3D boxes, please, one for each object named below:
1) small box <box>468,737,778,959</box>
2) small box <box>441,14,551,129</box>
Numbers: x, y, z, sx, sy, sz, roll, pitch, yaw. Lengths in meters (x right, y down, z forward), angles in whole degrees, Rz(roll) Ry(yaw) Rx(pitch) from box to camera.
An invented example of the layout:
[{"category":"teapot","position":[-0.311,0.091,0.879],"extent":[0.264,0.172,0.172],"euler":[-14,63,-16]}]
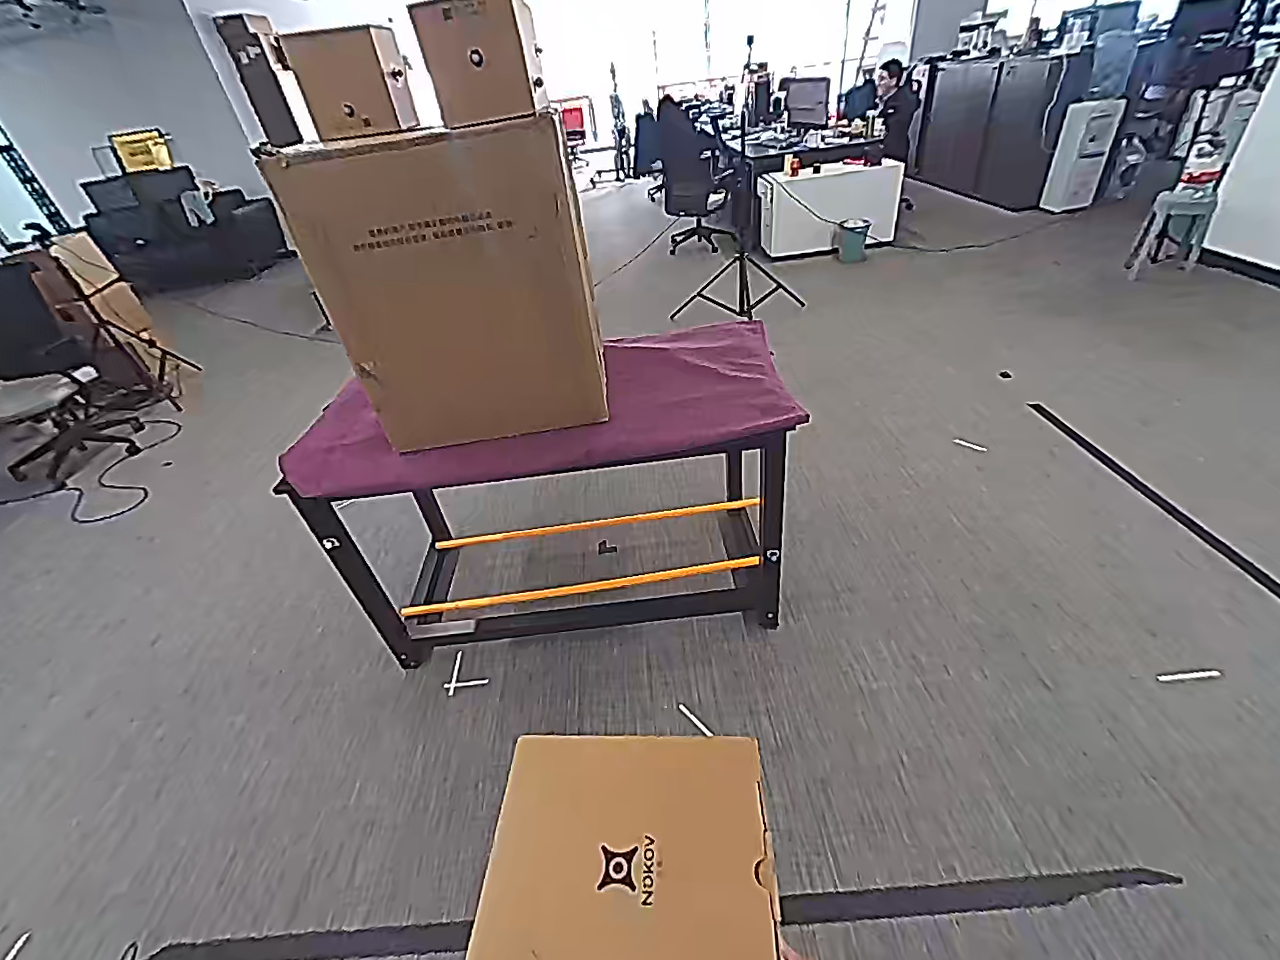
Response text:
[{"category":"small box","position":[0.000,0.305,0.381],"extent":[0.179,0.176,0.168],"euler":[-2,37,6]},{"category":"small box","position":[-0.288,-0.843,1.127],"extent":[0.168,0.176,0.179],"euler":[-8,37,2]}]
